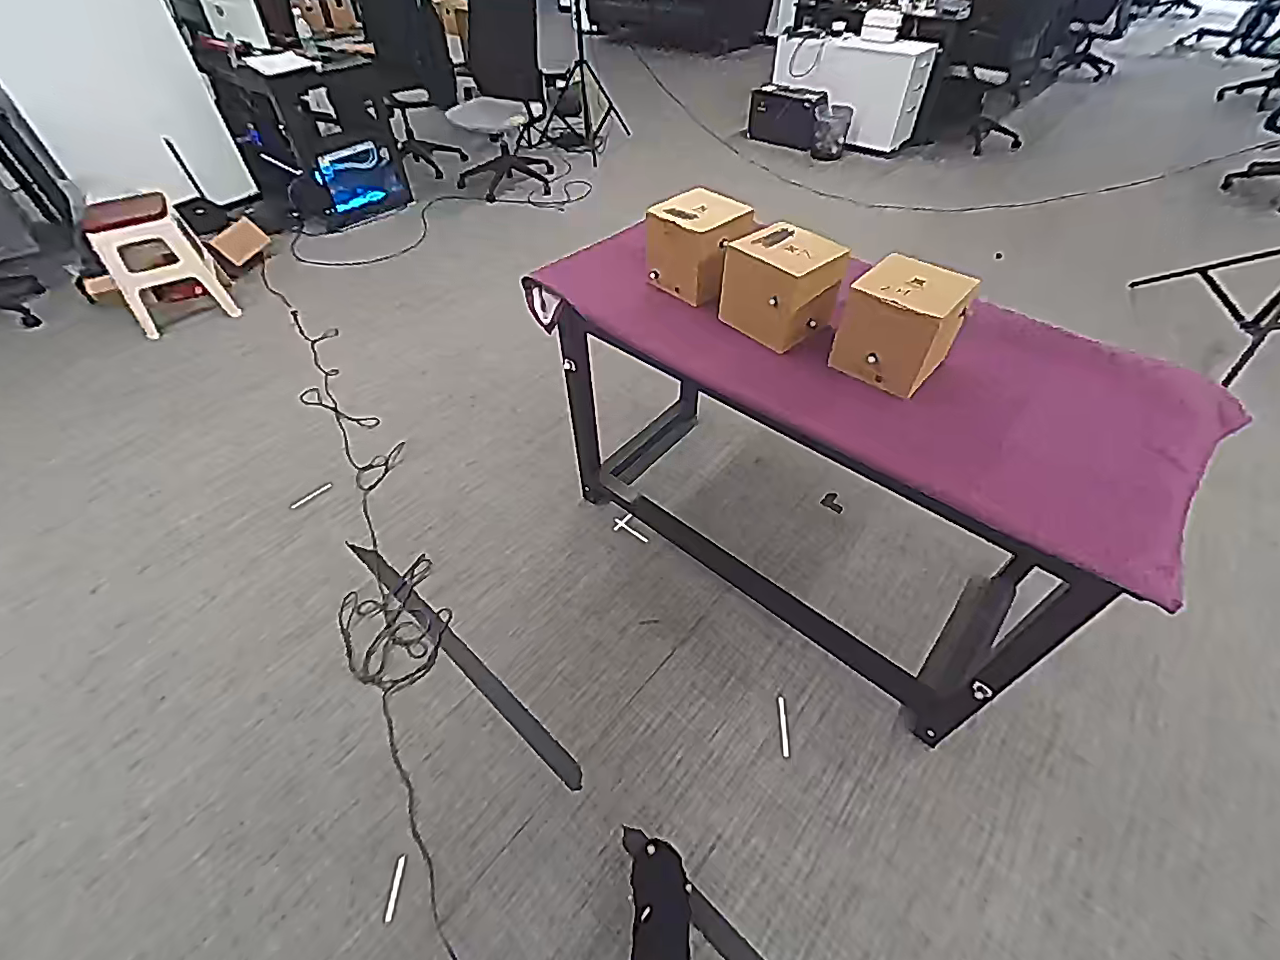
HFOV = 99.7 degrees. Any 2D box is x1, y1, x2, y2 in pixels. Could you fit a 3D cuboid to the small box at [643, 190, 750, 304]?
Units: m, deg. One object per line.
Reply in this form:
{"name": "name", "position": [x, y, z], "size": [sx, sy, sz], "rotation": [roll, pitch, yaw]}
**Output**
{"name": "small box", "position": [0.127, -0.528, 1.231], "size": [0.179, 0.176, 0.168], "rotation": [-35, 57, -26]}

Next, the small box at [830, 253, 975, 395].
{"name": "small box", "position": [0.480, -0.292, 1.012], "size": [0.168, 0.176, 0.179], "rotation": [33, 56, 28]}
